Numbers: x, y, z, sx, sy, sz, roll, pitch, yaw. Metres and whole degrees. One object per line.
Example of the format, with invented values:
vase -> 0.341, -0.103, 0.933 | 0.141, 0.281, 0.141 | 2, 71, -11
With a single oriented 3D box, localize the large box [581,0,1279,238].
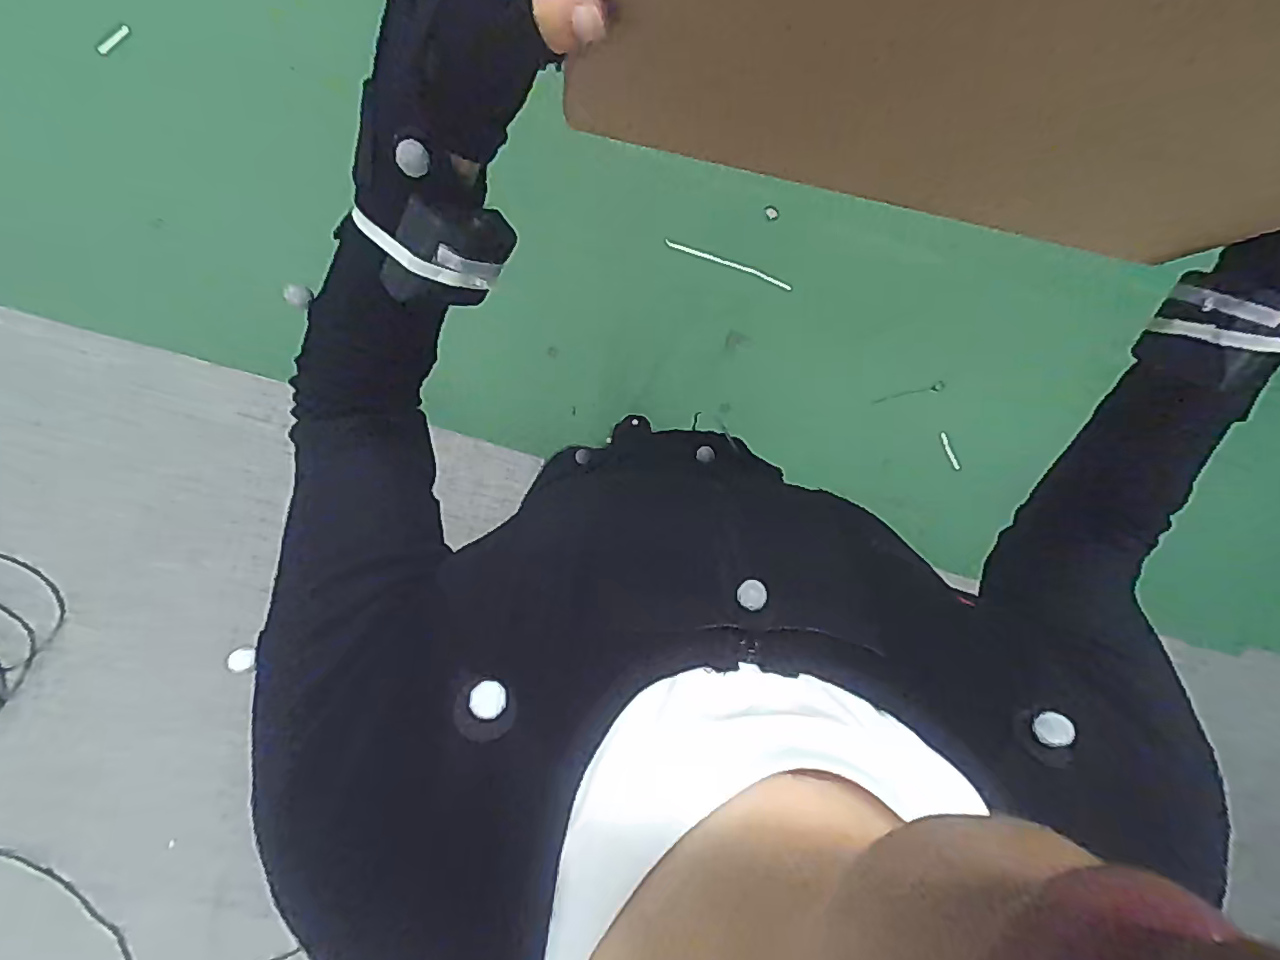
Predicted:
large box -> 0.204, -0.318, 0.175 | 0.408, 0.320, 0.320 | 6, 94, -12
